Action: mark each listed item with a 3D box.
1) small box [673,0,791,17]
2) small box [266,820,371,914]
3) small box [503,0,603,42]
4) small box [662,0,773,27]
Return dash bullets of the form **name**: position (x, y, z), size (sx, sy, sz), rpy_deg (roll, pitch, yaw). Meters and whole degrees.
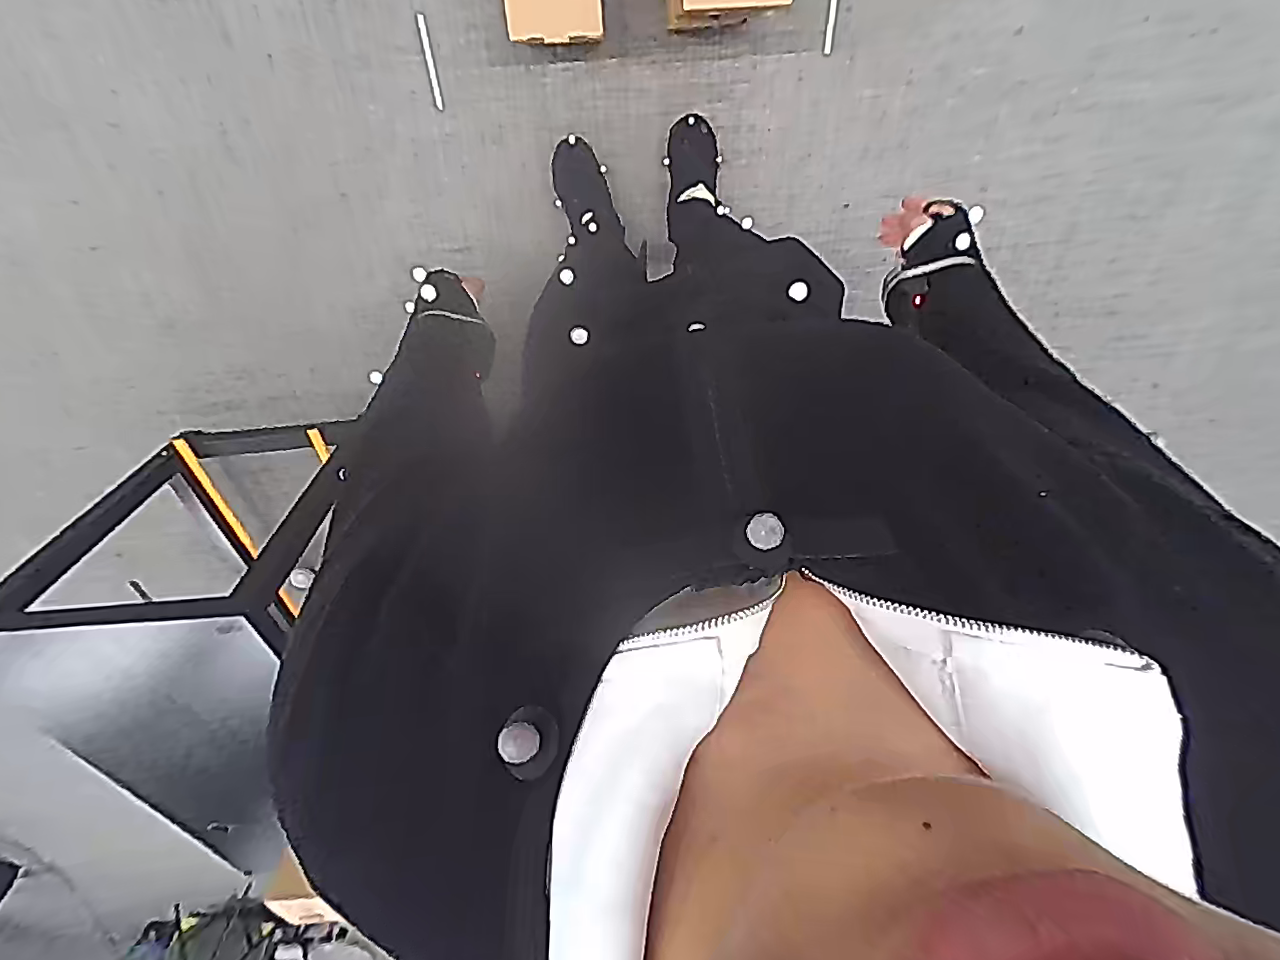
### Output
- **small box**: position (0.137, -0.823, 0.817), size (0.168, 0.176, 0.179), rpy_deg (-3, 129, 0)
- **small box**: position (-0.876, 1.069, 1.496), size (0.168, 0.176, 0.179), rpy_deg (-4, 127, 0)
- **small box**: position (-0.153, -0.889, 0.954), size (0.168, 0.176, 0.179), rpy_deg (-2, 128, -1)
- **small box**: position (0.134, -0.913, 0.952), size (0.179, 0.176, 0.168), rpy_deg (-5, 128, -1)
